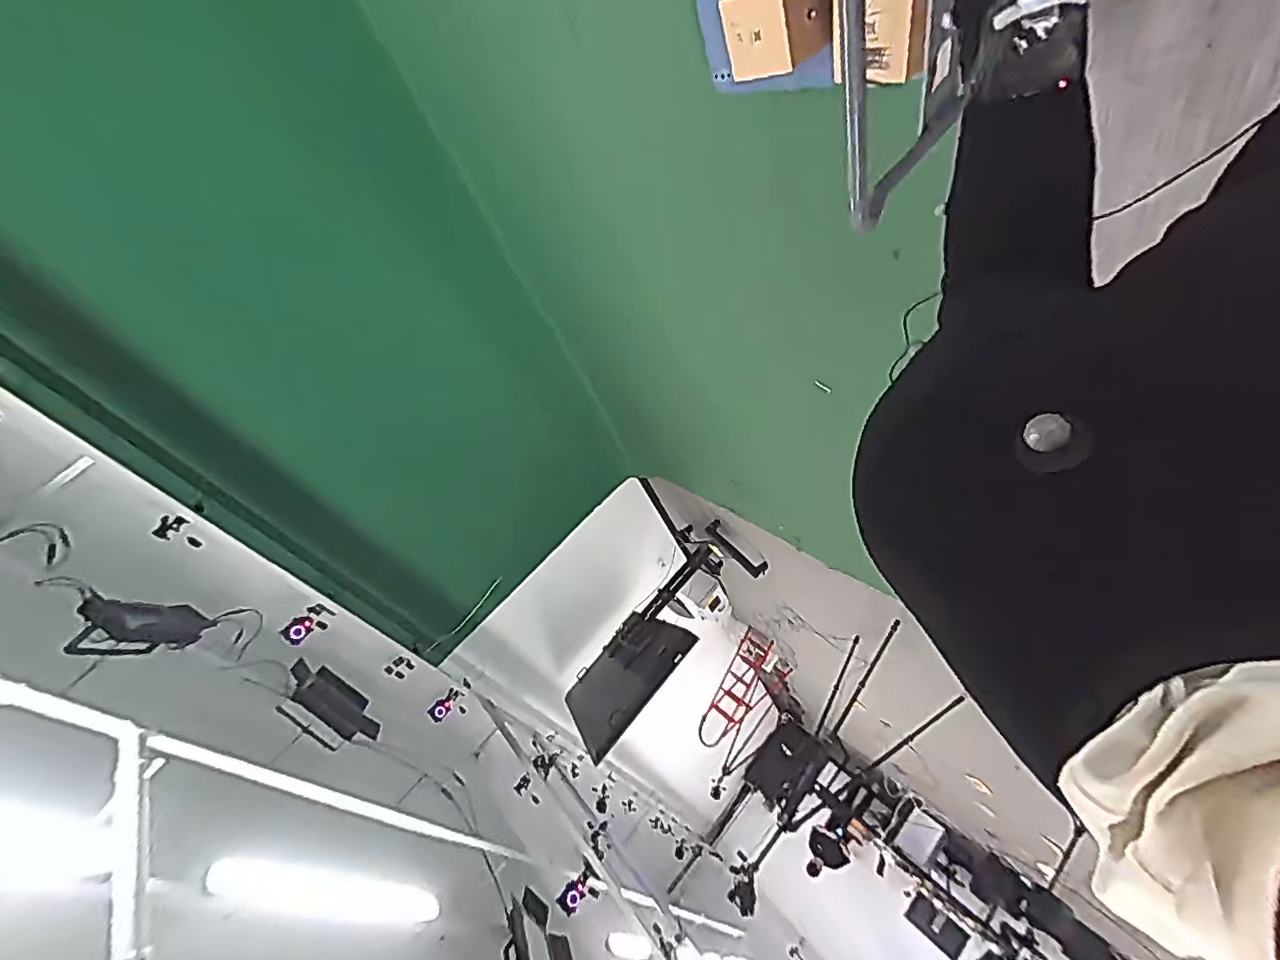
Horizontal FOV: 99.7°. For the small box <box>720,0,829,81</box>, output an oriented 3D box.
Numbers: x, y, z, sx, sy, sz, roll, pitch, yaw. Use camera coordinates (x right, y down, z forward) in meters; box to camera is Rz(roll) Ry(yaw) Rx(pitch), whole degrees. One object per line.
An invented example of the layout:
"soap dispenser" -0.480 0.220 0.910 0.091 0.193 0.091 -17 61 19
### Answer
"small box" 0.321 -1.067 1.254 0.179 0.176 0.168 30 158 42
